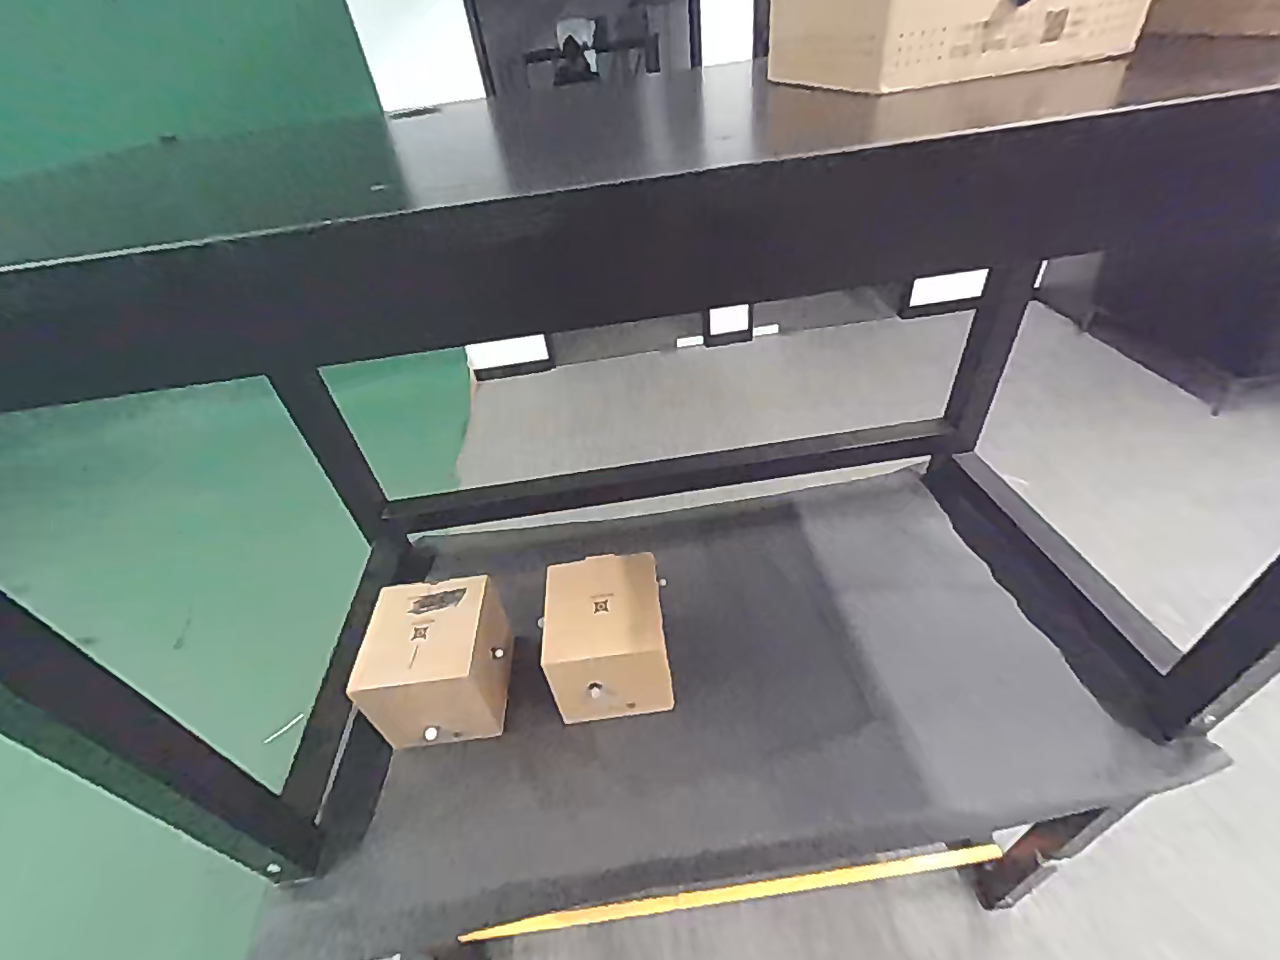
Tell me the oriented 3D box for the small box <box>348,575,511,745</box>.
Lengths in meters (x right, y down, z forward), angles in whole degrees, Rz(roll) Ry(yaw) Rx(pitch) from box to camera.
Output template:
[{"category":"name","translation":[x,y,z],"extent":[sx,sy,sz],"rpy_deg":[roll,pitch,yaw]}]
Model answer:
[{"category":"small box","translation":[-0.300,0.271,0.819],"extent":[0.168,0.176,0.179],"rpy_deg":[-7,40,0]}]

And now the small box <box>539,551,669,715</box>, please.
[{"category":"small box","translation":[-0.050,0.237,0.823],"extent":[0.168,0.176,0.179],"rpy_deg":[-8,39,0]}]
